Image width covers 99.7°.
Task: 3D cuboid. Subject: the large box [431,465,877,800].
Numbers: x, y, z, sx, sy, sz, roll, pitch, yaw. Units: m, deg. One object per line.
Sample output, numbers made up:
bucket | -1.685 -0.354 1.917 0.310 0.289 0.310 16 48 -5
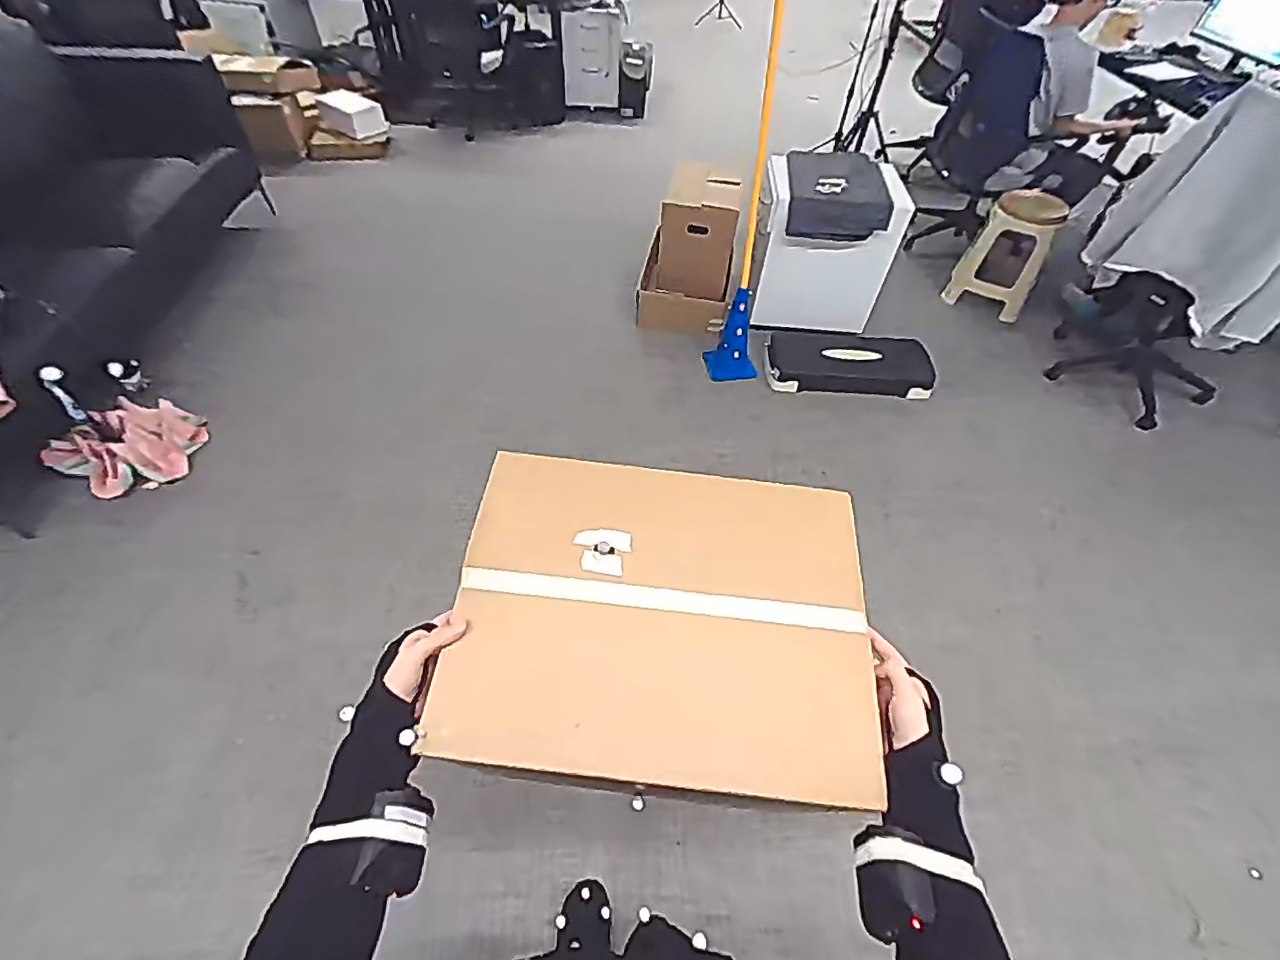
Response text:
large box | 0.021 0.206 0.678 0.408 0.320 0.320 6 57 1
